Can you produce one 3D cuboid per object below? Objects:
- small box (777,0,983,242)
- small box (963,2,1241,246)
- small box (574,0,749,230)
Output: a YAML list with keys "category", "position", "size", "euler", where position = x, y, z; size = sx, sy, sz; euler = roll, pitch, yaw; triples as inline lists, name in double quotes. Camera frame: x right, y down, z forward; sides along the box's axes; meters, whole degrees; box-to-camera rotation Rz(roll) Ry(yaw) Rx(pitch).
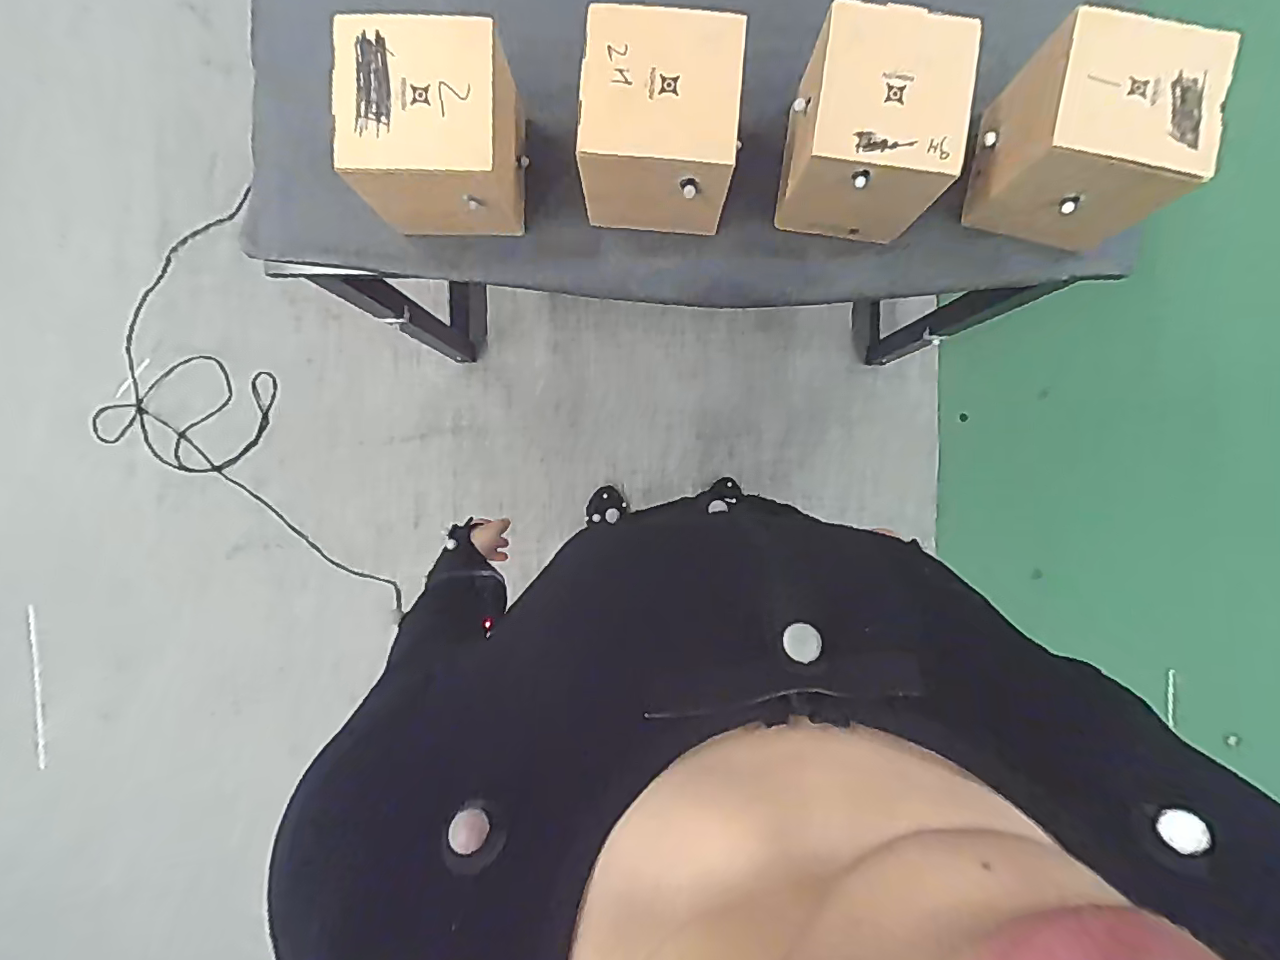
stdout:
- category: "small box"
  position: [0.275, -0.422, 0.658]
  size: [0.168, 0.176, 0.179]
  euler: [9, 89, 0]
- category: "small box"
  position: [0.536, -0.408, 0.652]
  size: [0.179, 0.176, 0.168]
  euler: [13, 88, 2]
- category: "small box"
  position: [0.024, -0.426, 0.660]
  size: [0.179, 0.176, 0.168]
  euler: [5, 90, 2]
